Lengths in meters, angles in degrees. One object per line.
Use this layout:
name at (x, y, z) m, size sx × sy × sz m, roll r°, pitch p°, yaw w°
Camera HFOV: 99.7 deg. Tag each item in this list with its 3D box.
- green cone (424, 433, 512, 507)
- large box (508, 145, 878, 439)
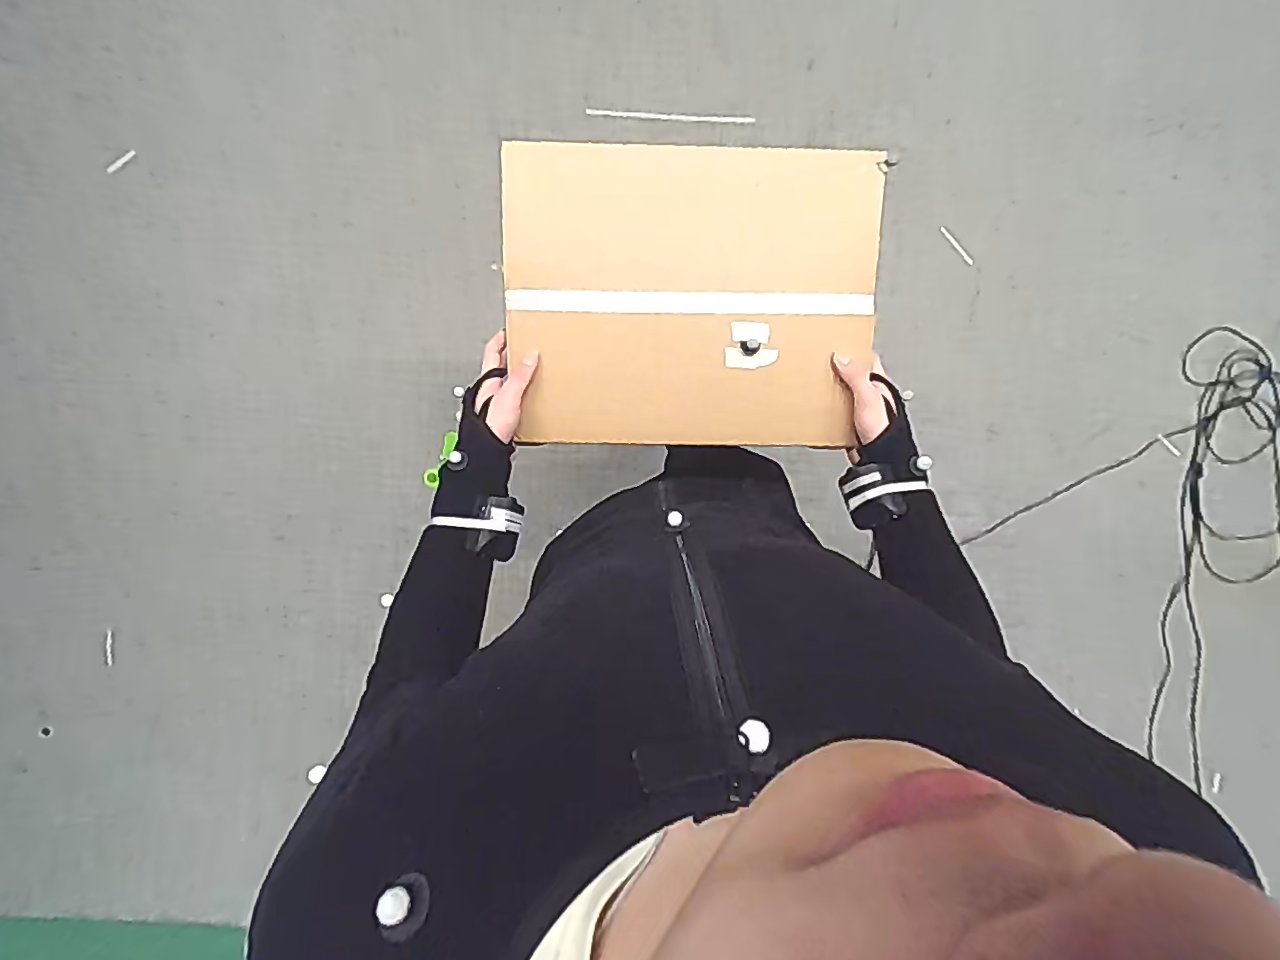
green cone at (-0.485, -0.012, 1.425) m, size 0.200 × 0.368 × 0.202 m, roll 9°, pitch 95°, yaw -1°
large box at (0.053, -0.229, 0.747) m, size 0.408 × 0.320 × 0.320 m, roll 0°, pitch 101°, yaw -2°
